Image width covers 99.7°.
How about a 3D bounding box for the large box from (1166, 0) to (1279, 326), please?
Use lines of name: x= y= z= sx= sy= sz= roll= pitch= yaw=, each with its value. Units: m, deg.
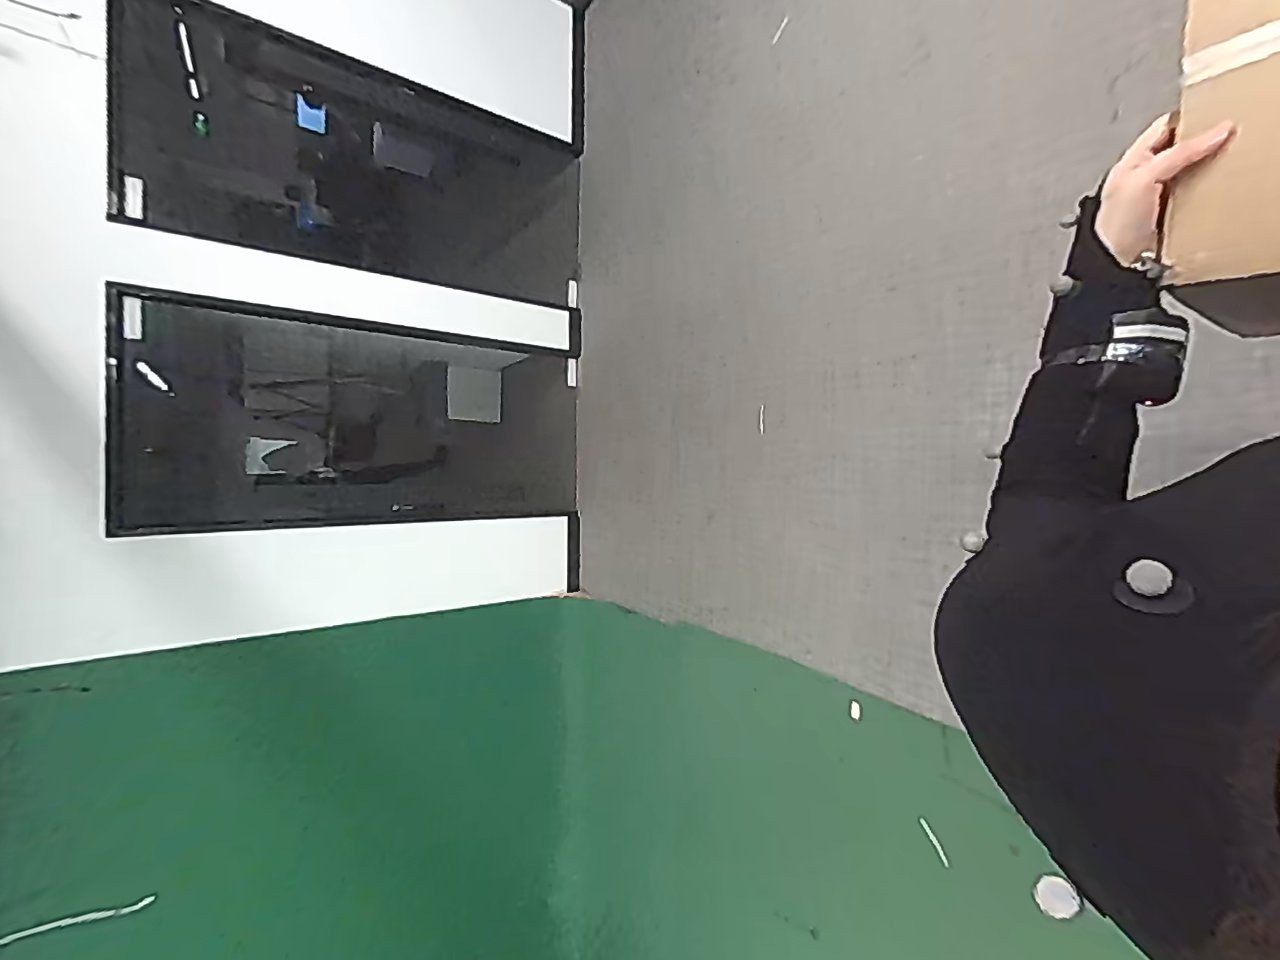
large box: x=0.660 y=-0.294 z=0.335 sx=0.408 sy=0.320 sz=0.320 roll=10 pitch=99 yaw=57
